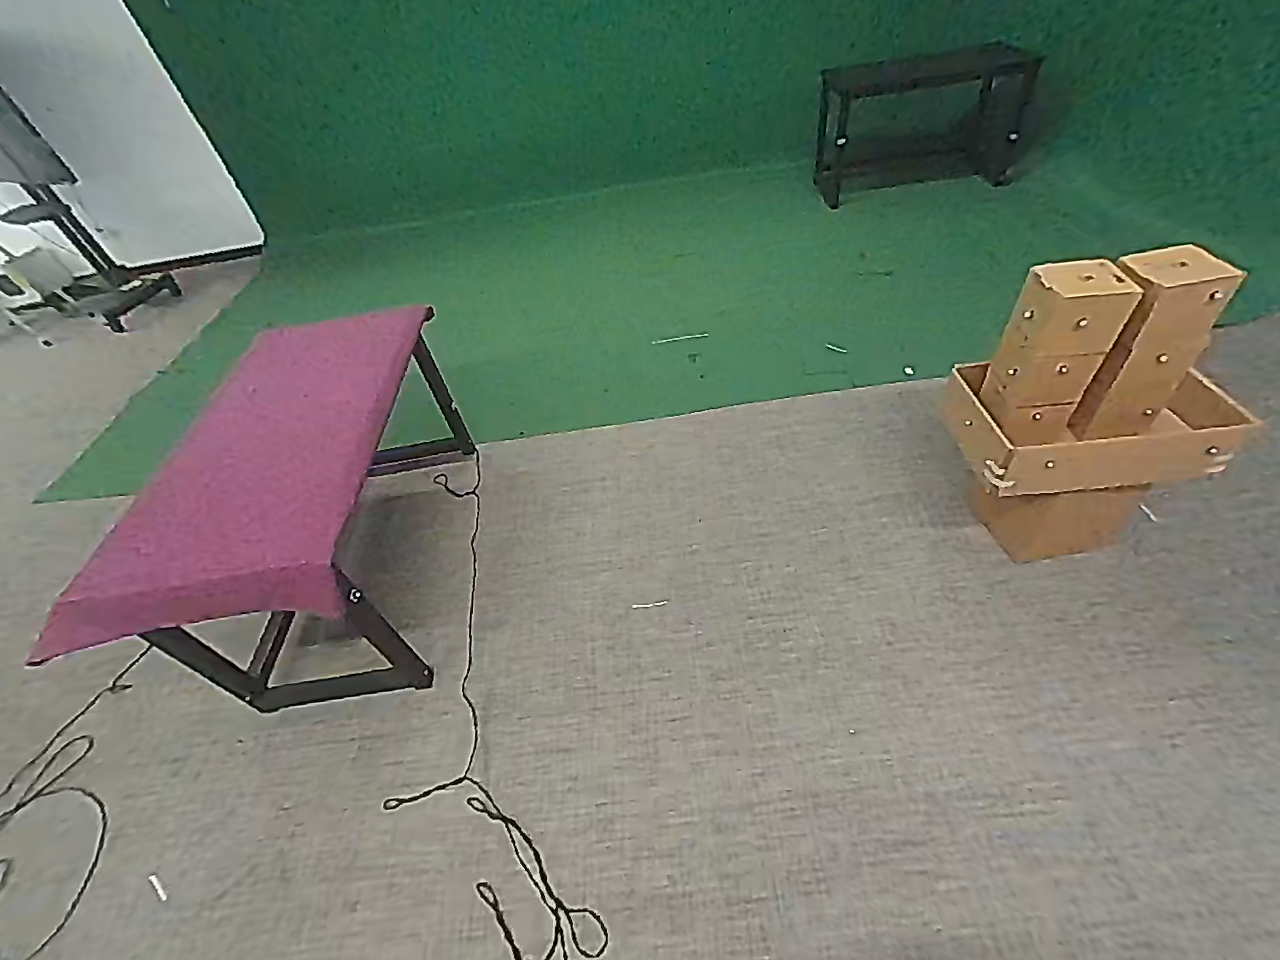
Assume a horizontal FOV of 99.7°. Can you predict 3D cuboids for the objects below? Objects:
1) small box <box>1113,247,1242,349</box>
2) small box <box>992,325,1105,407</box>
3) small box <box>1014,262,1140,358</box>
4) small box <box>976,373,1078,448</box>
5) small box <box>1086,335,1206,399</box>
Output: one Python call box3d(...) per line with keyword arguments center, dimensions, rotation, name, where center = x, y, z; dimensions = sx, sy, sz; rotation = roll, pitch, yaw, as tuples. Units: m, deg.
box3d(center=(1.297, -0.450, 1.347), dimensions=(0.179, 0.176, 0.168), rotation=(-8, 45, 6), name="small box")
box3d(center=(1.099, -0.314, 1.478), dimensions=(0.179, 0.176, 0.168), rotation=(-3, 47, 6), name="small box")
box3d(center=(1.078, -0.423, 1.358), dimensions=(0.179, 0.176, 0.168), rotation=(-3, 47, 8), name="small box")
box3d(center=(1.128, -0.209, 1.600), dimensions=(0.179, 0.176, 0.168), rotation=(-5, 46, 5), name="small box")
box3d(center=(1.338, -0.340, 1.465), dimensions=(0.179, 0.176, 0.168), rotation=(-7, 47, 7), name="small box")
